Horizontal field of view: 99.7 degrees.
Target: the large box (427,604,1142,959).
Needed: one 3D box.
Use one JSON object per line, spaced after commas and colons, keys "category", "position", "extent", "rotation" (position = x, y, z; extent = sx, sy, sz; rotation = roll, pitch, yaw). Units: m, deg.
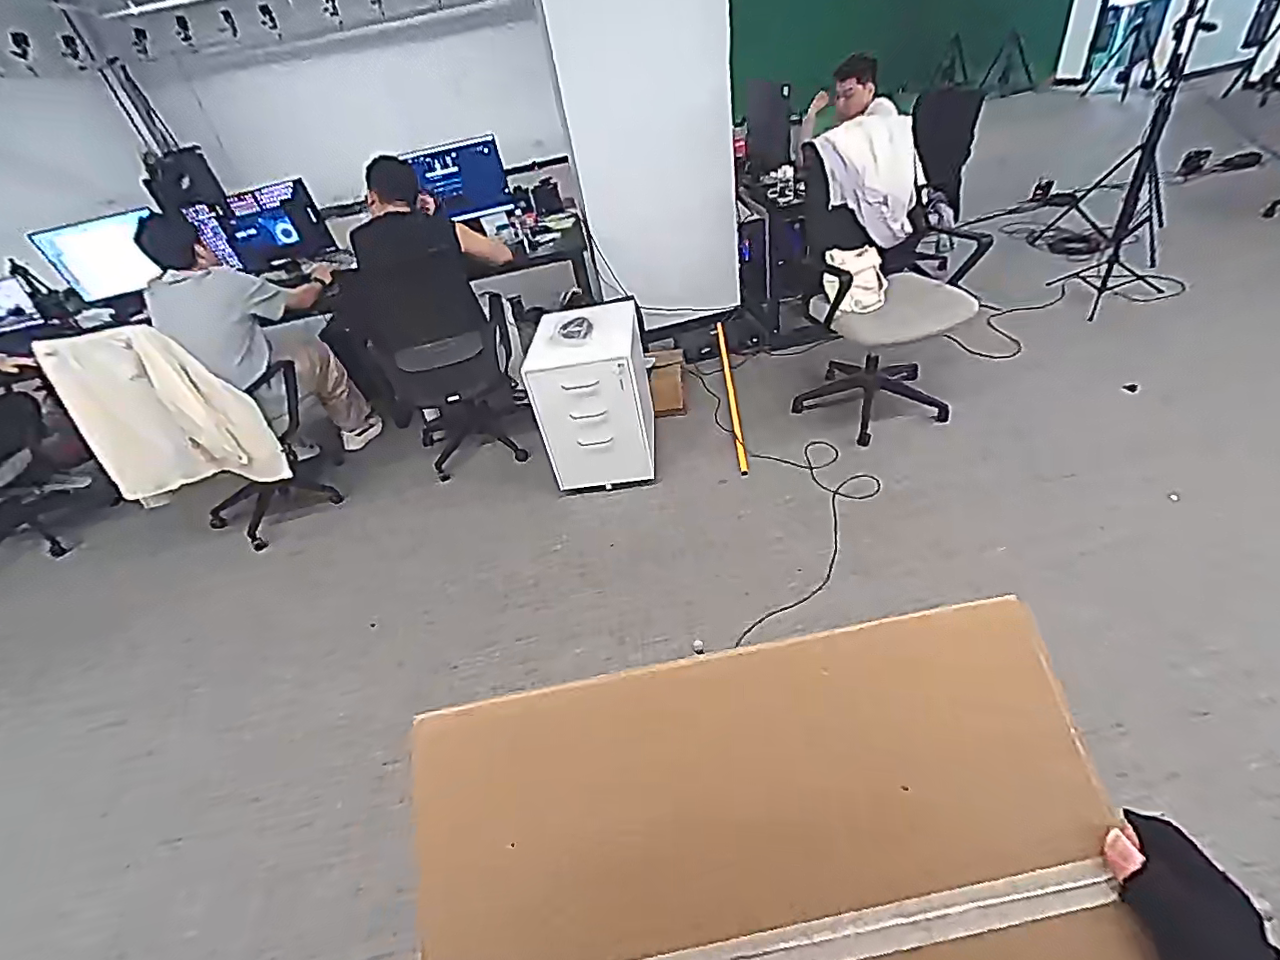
{"category": "large box", "position": [0.090, 0.311, 0.458], "extent": [0.408, 0.320, 0.320], "rotation": [-11, 71, -1]}
